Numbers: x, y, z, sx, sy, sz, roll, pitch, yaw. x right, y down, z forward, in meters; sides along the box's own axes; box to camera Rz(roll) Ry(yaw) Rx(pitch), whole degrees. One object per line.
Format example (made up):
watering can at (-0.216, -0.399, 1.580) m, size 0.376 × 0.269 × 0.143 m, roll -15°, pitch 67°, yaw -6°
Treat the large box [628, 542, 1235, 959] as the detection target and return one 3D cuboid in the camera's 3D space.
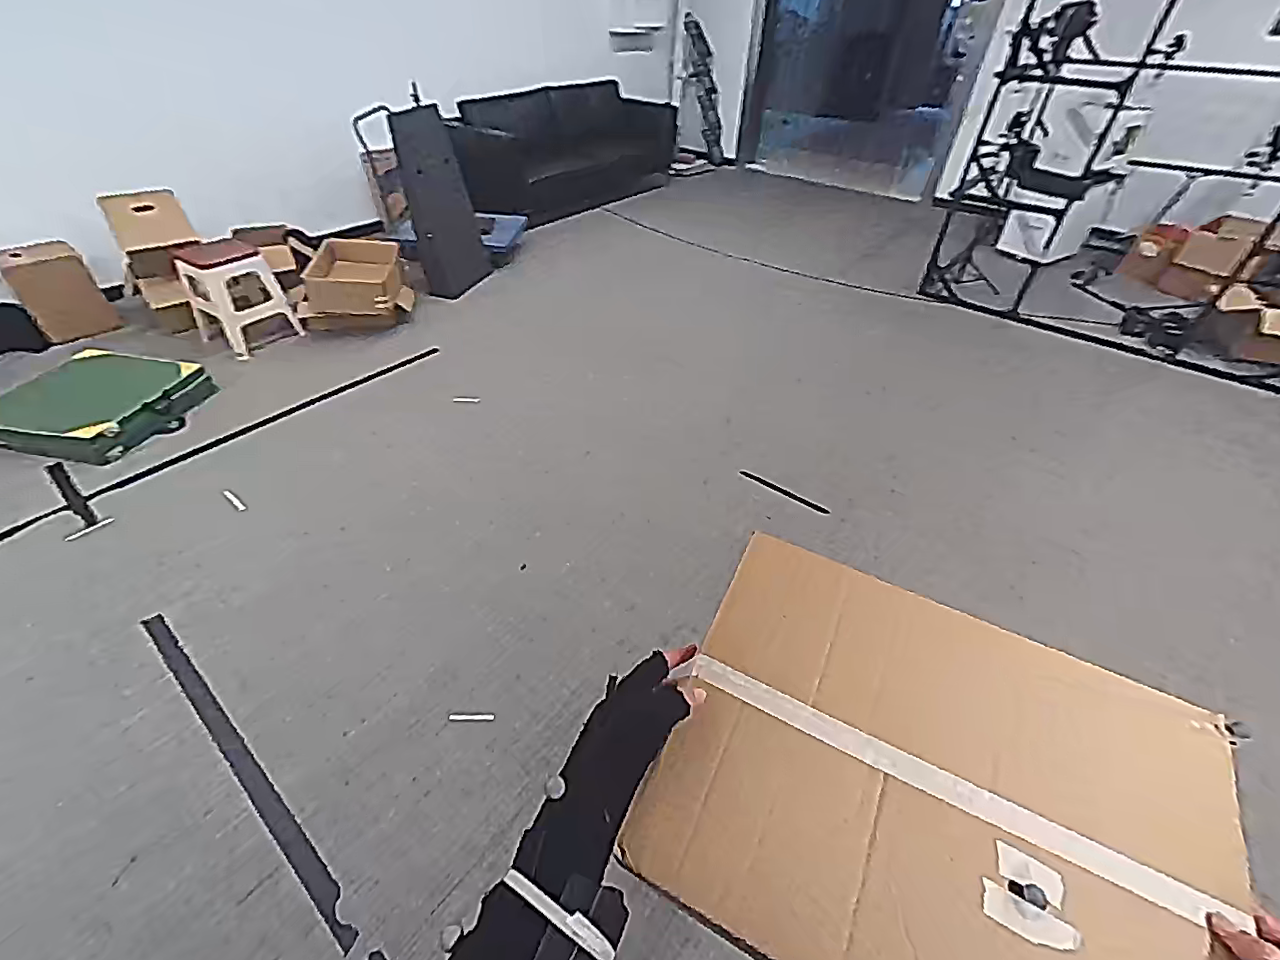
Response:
large box at (0.233, 0.329, 0.550) m, size 0.408 × 0.320 × 0.320 m, roll 22°, pitch 56°, yaw 17°
